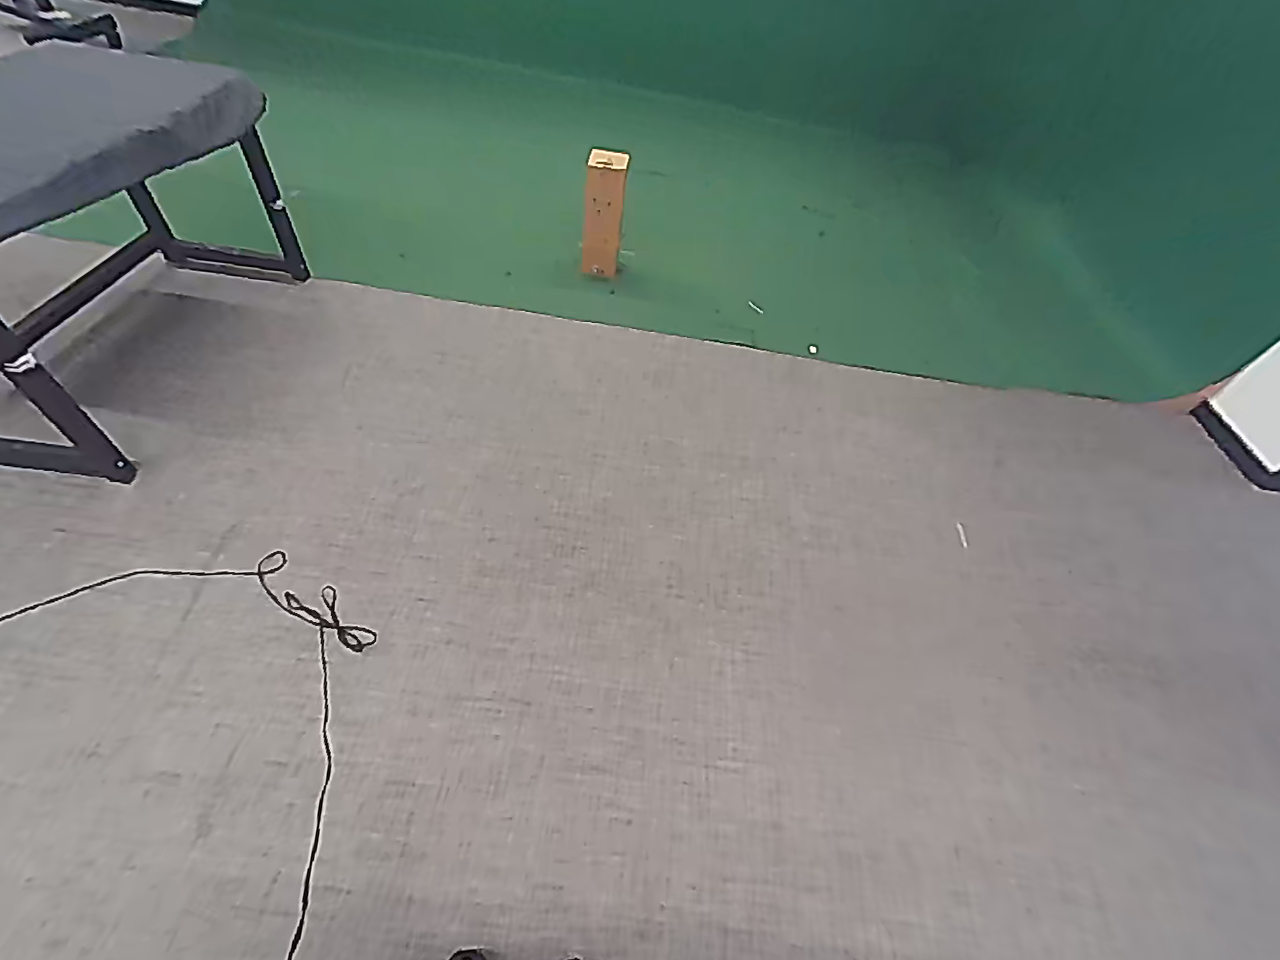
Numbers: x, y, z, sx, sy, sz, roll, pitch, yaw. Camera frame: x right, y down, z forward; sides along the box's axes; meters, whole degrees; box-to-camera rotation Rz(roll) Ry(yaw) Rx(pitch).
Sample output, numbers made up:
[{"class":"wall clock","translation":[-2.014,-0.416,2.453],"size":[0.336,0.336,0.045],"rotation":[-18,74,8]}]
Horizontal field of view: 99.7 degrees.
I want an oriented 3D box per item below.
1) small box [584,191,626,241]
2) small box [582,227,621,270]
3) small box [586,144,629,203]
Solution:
[{"class":"small box","translation":[-0.164,-1.234,2.492],"size":[0.168,0.176,0.179],"rotation":[9,50,-1]},{"class":"small box","translation":[-0.186,-1.143,2.603],"size":[0.168,0.176,0.179],"rotation":[9,51,0]},{"class":"small box","translation":[-0.143,-1.338,2.365],"size":[0.168,0.176,0.179],"rotation":[8,50,-3]}]
